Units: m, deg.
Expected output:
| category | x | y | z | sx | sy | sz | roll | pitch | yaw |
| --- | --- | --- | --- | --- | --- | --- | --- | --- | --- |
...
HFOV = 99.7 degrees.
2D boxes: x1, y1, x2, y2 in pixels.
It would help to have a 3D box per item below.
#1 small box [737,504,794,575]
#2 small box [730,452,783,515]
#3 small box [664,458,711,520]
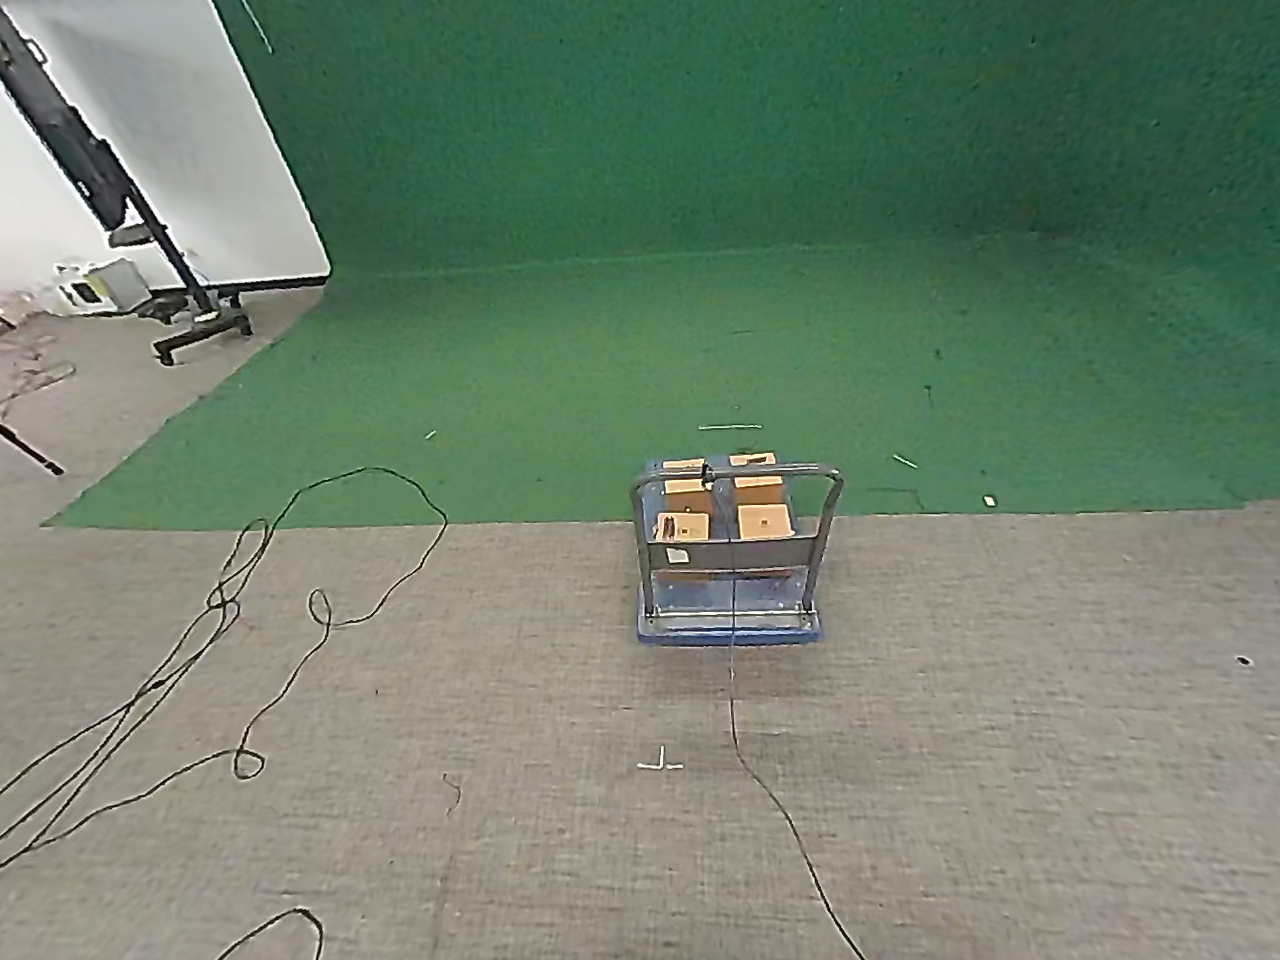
| category | x | y | z | sx | sy | sz | roll | pitch | yaw |
| --- | --- | --- | --- | --- | --- | --- | --- | --- | --- |
| small box | 0.417 | 0.200 | 1.828 | 0.168 | 0.176 | 0.179 | -1 | 43 | 6 |
| small box | 0.431 | 0.018 | 2.028 | 0.168 | 0.176 | 0.179 | -5 | 43 | 3 |
| small box | 0.181 | 0.038 | 2.039 | 0.168 | 0.176 | 0.179 | -4 | 42 | 2 |
